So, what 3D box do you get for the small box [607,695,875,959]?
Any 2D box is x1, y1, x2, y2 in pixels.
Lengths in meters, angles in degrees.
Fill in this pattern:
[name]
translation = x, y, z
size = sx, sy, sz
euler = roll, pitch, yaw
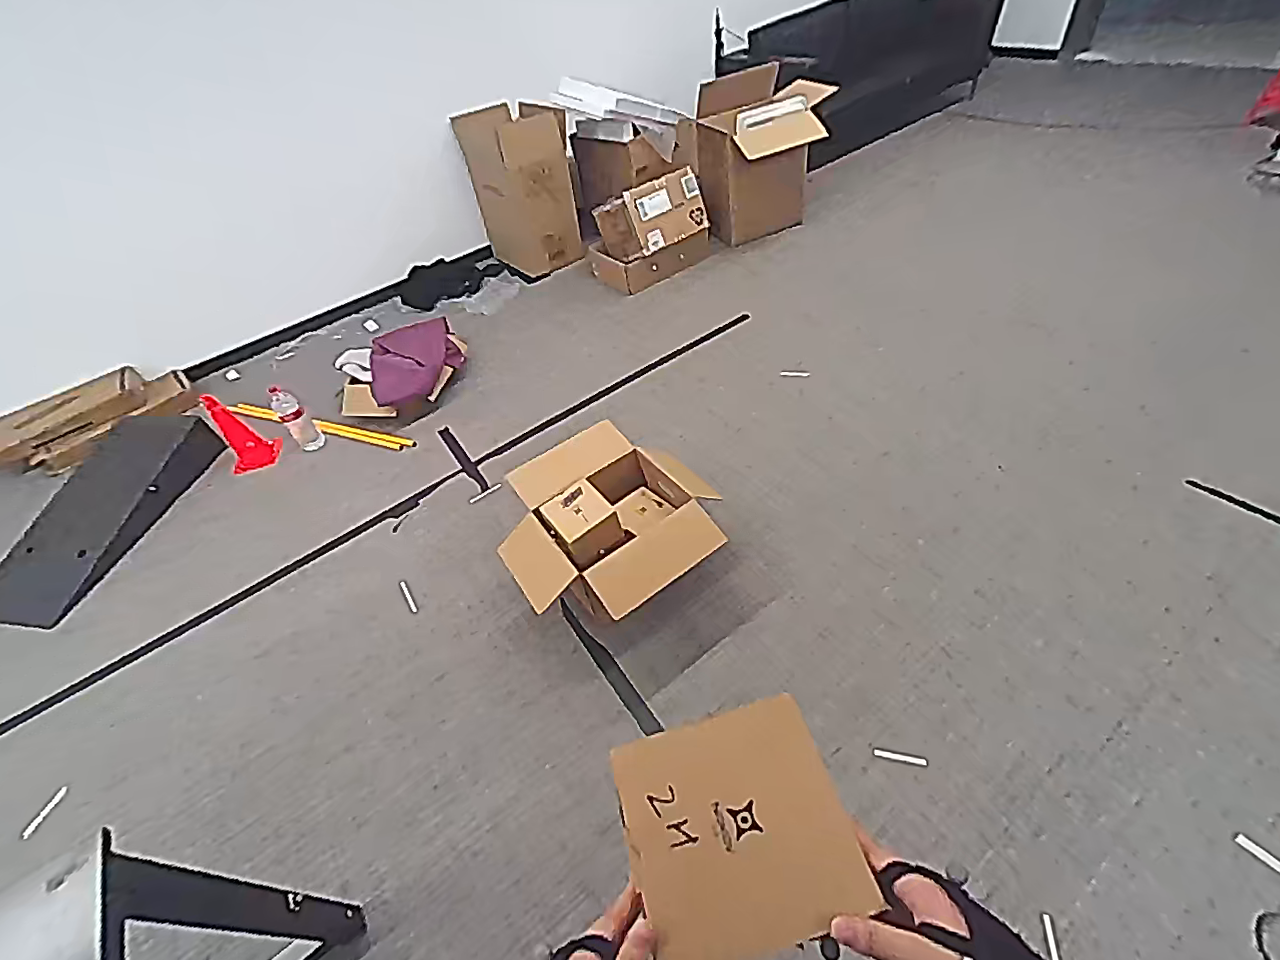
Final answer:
[small box]
translation = 0.080, 0.328, 0.504
size = 0.179, 0.176, 0.168
euler = -16, 50, -6
